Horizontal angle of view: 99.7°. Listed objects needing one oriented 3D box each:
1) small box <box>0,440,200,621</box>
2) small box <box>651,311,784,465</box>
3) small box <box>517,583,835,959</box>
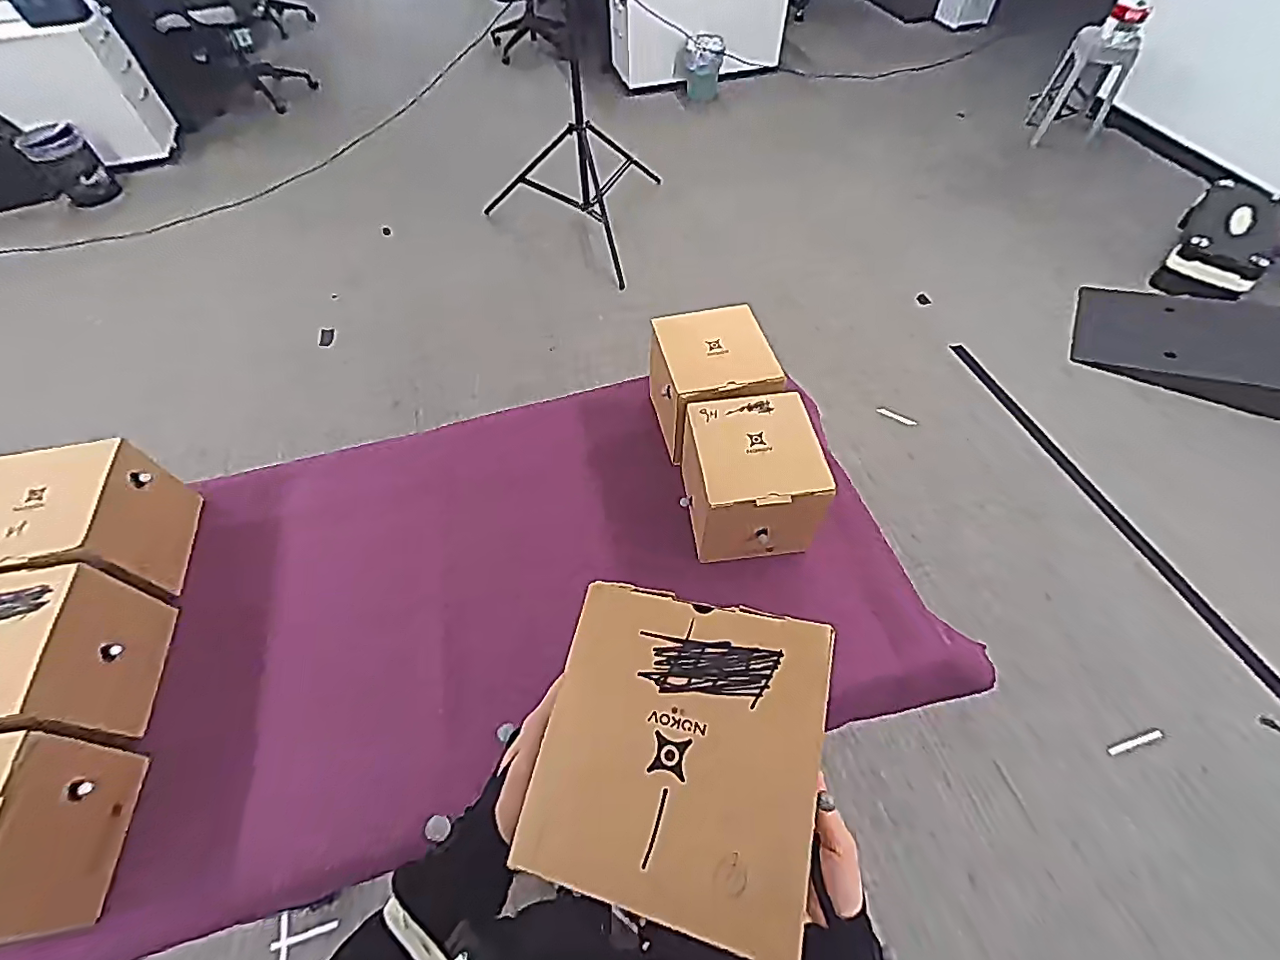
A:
[{"bbox_3d":[-0.765,0.073,0.752,0.168,0.176,0.179,-11,57,-6],"label":"small box"},{"bbox_3d":[0.114,-0.150,0.895,0.168,0.176,0.179,-11,56,-7],"label":"small box"},{"bbox_3d":[0.041,0.198,0.396,0.168,0.176,0.179,7,63,18],"label":"small box"}]
